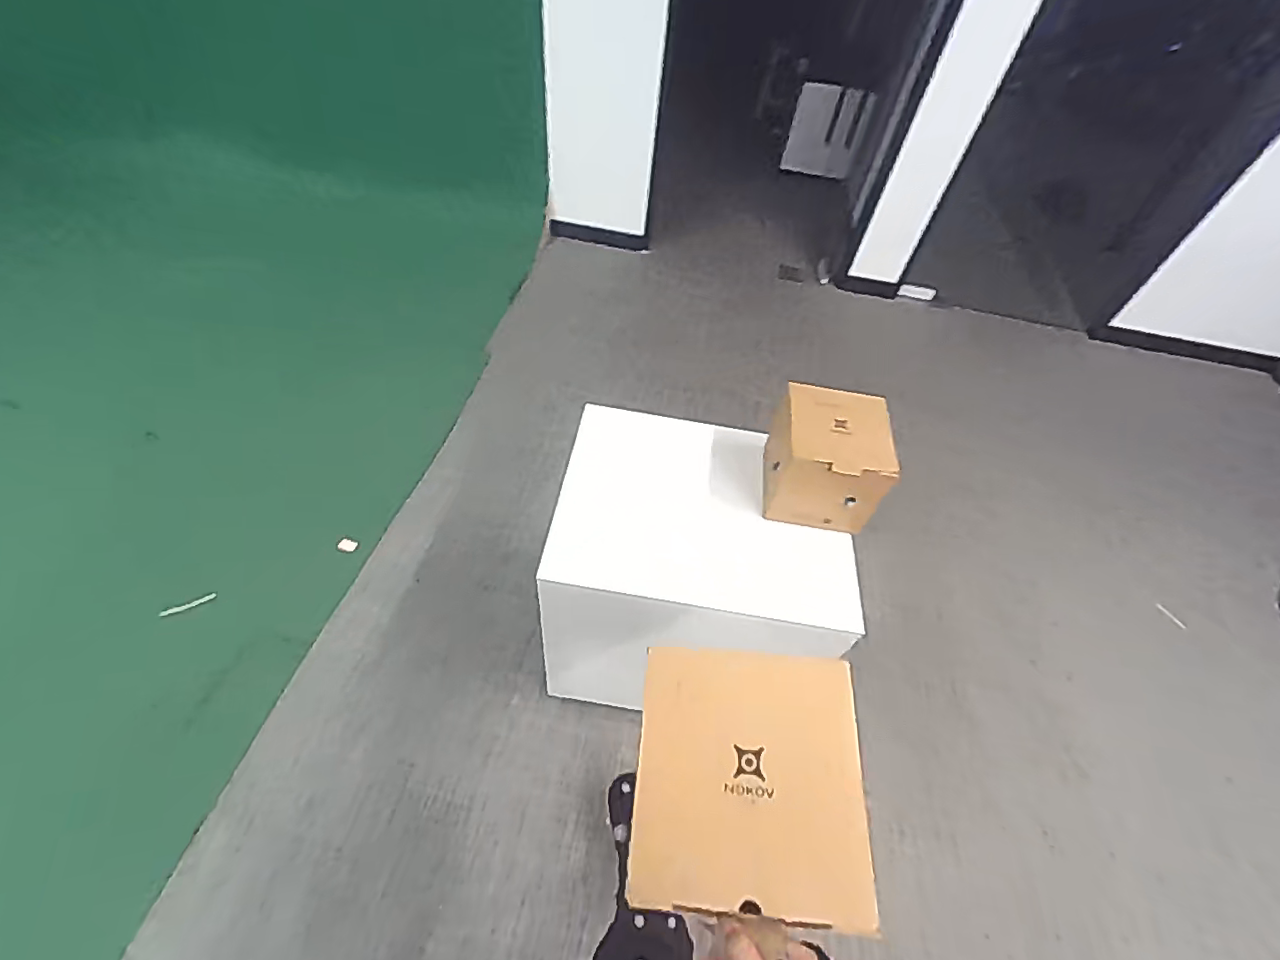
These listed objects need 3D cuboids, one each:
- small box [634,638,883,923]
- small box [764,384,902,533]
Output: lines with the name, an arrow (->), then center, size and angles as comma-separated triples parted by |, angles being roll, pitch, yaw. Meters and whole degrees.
small box -> 0.088, 0.255, 0.467 | 0.168, 0.176, 0.179 | 3, 55, 6
small box -> 0.315, -0.032, 0.918 | 0.168, 0.176, 0.179 | 10, 50, 1
